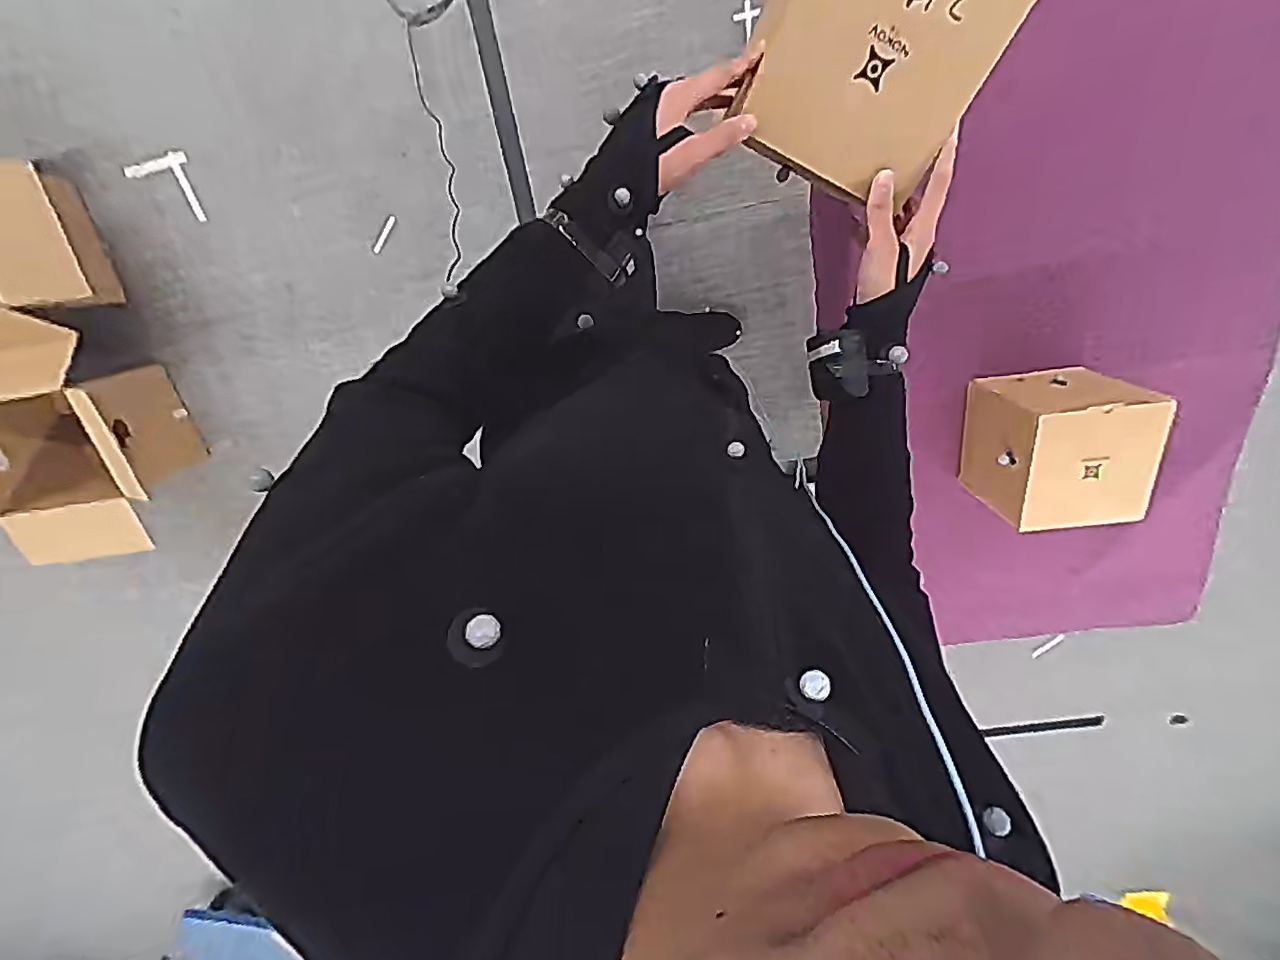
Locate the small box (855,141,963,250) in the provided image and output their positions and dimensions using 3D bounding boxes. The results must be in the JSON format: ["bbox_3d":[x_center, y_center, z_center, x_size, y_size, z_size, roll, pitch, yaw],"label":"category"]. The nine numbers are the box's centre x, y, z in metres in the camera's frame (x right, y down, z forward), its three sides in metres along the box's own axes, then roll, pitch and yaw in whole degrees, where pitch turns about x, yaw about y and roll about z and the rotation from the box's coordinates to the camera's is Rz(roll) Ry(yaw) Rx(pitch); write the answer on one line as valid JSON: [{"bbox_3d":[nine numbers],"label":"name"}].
[{"bbox_3d":[0.584,-0.621,1.195,0.168,0.176,0.179,-11,116,6],"label":"small box"}]

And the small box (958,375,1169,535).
[{"bbox_3d":[0.592,-0.041,0.786,0.168,0.176,0.179,-6,114,4],"label":"small box"}]

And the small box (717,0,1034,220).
[{"bbox_3d":[0.180,-0.363,0.479,0.168,0.176,0.179,20,121,-13],"label":"small box"}]
